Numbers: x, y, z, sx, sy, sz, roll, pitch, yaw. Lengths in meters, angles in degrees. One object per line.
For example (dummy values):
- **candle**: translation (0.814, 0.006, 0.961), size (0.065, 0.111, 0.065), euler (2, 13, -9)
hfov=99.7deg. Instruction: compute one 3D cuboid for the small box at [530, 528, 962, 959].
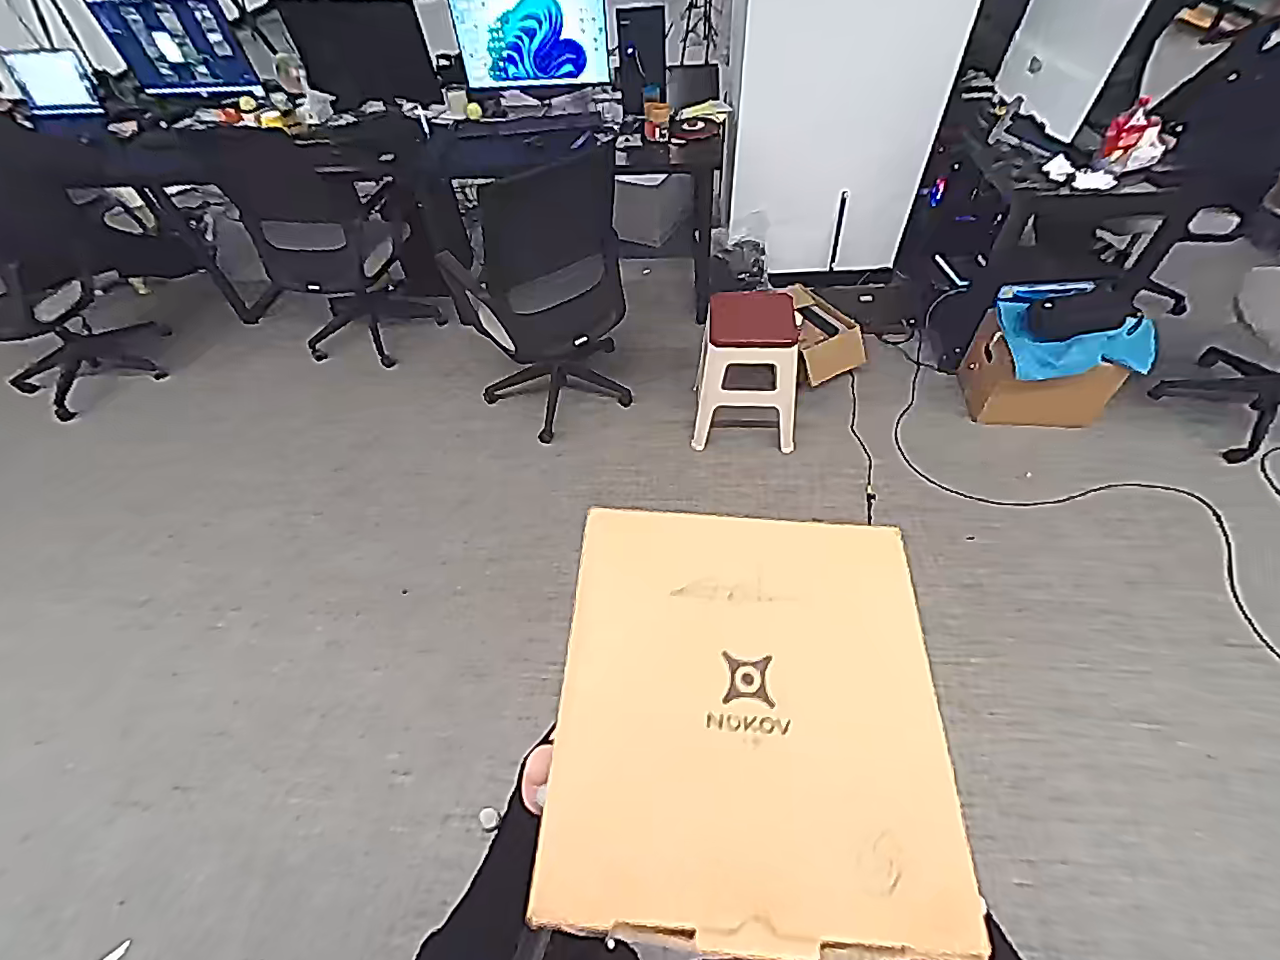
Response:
- **small box**: translation (0.044, 0.147, 0.314), size (0.168, 0.176, 0.179), euler (4, 56, 1)
